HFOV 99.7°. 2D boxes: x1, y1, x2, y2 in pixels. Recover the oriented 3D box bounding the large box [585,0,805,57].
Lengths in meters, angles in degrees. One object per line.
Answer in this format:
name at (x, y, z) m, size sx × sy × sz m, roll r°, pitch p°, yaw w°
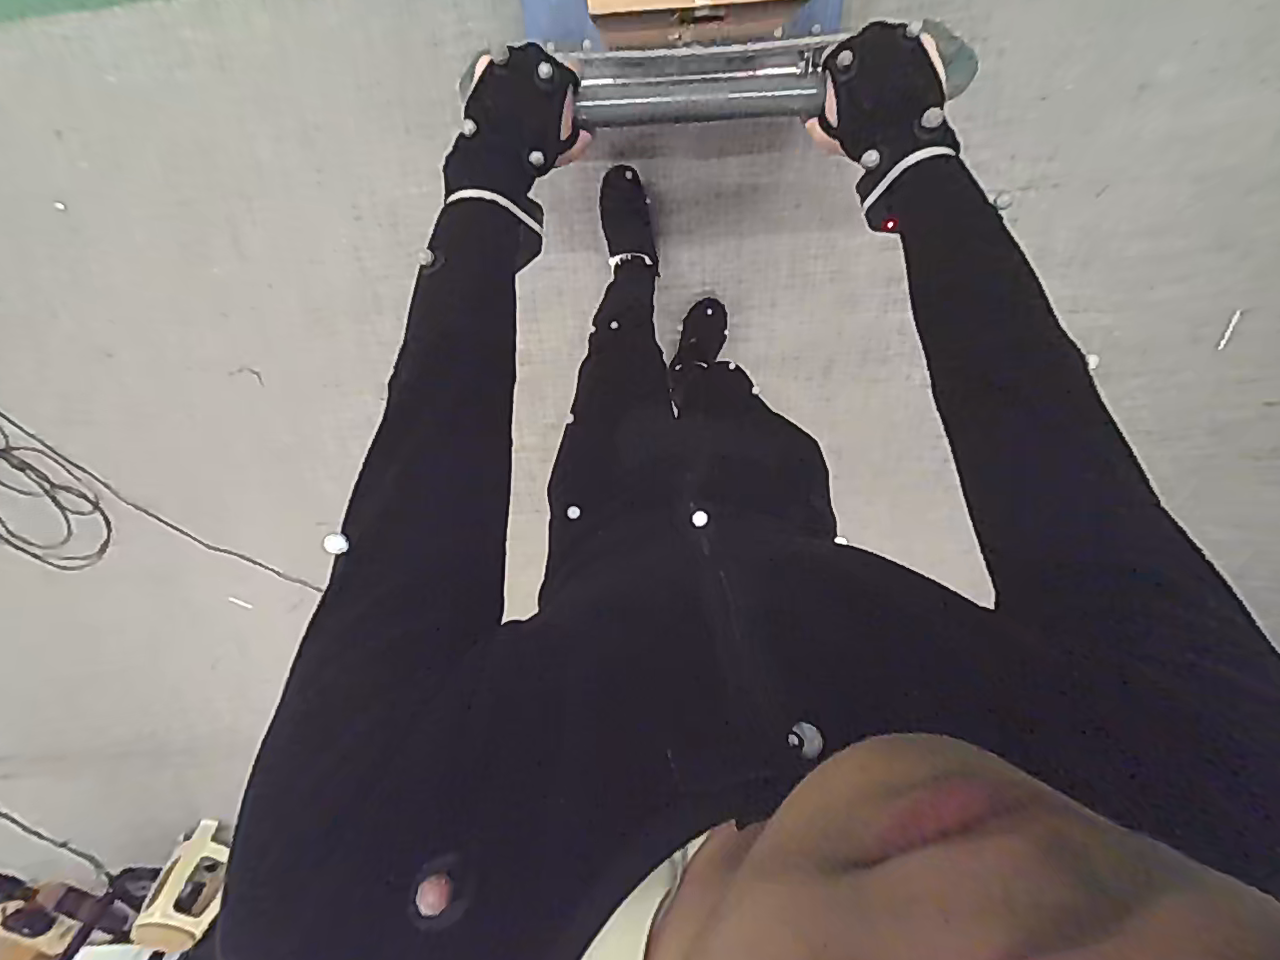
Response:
large box at (0.073, -0.899, 0.786) m, size 0.320 × 0.320 × 0.408 m, roll -2°, pitch 121°, yaw 3°
